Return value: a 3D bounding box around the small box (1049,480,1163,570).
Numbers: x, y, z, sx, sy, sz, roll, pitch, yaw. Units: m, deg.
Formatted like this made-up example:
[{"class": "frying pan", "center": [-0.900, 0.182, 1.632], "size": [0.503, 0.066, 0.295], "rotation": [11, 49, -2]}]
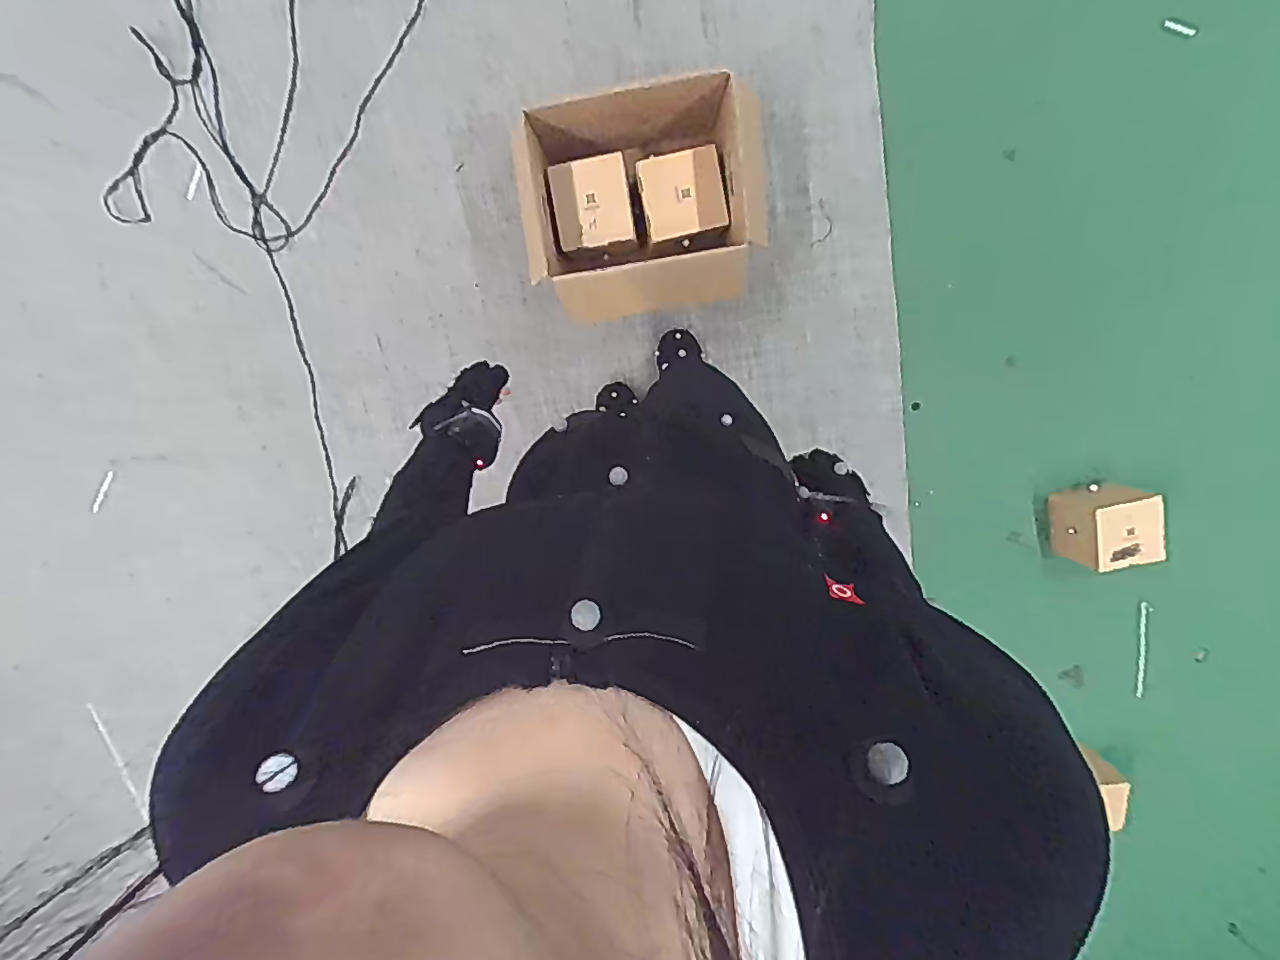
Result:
[{"class": "small box", "center": [1.226, 0.114, 1.432], "size": [0.168, 0.176, 0.179], "rotation": [-13, 102, 3]}]
